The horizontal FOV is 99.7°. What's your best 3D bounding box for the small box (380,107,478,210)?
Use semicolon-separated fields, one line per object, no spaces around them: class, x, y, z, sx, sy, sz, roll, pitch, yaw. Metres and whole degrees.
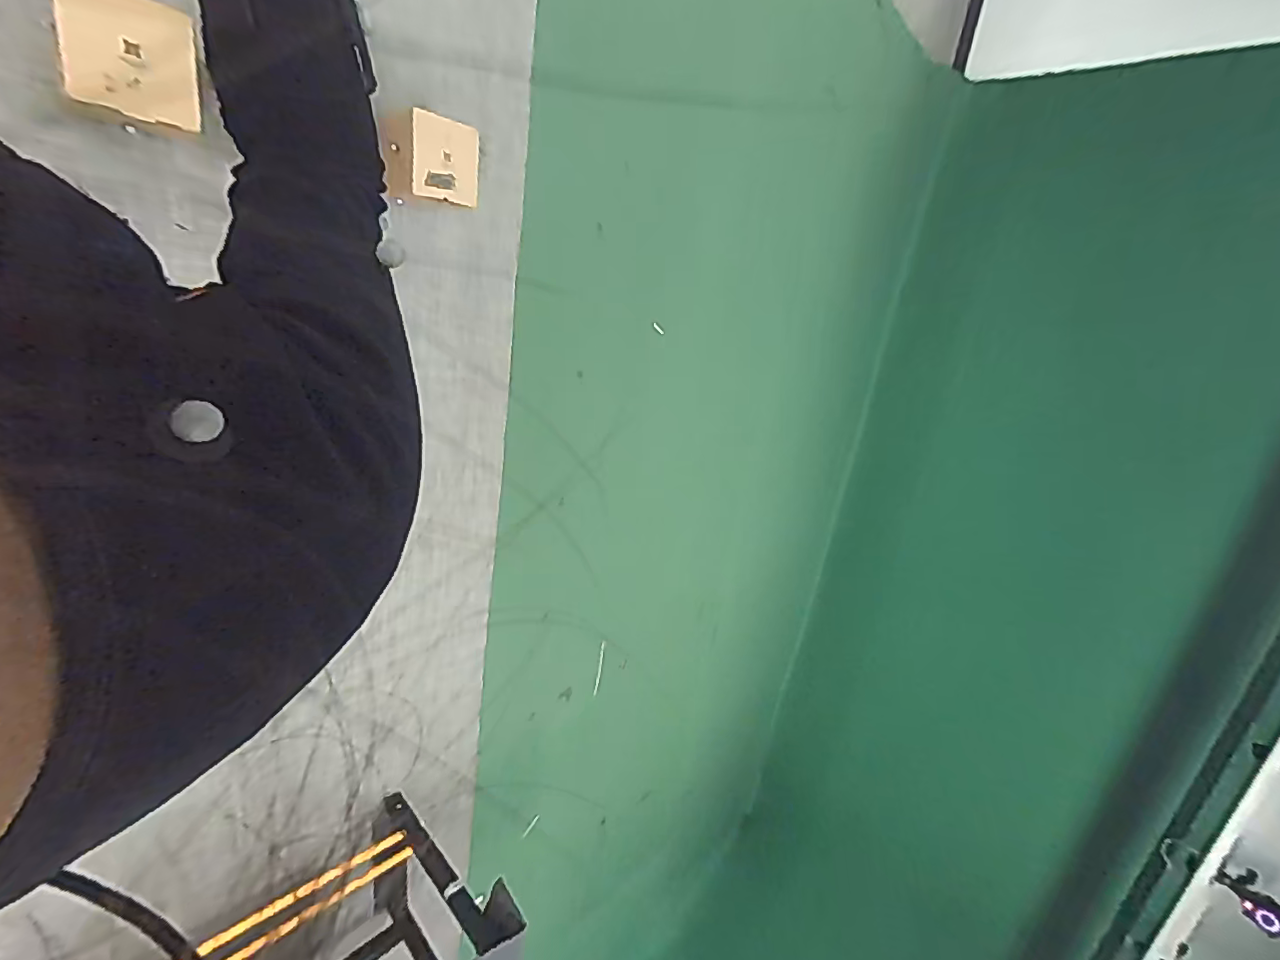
small box;-0.511;-0.763;1.305;0.168;0.176;0.179;-12;117;-47

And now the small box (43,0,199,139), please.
small box;-0.869;-0.701;0.908;0.168;0.176;0.179;-10;116;-46
